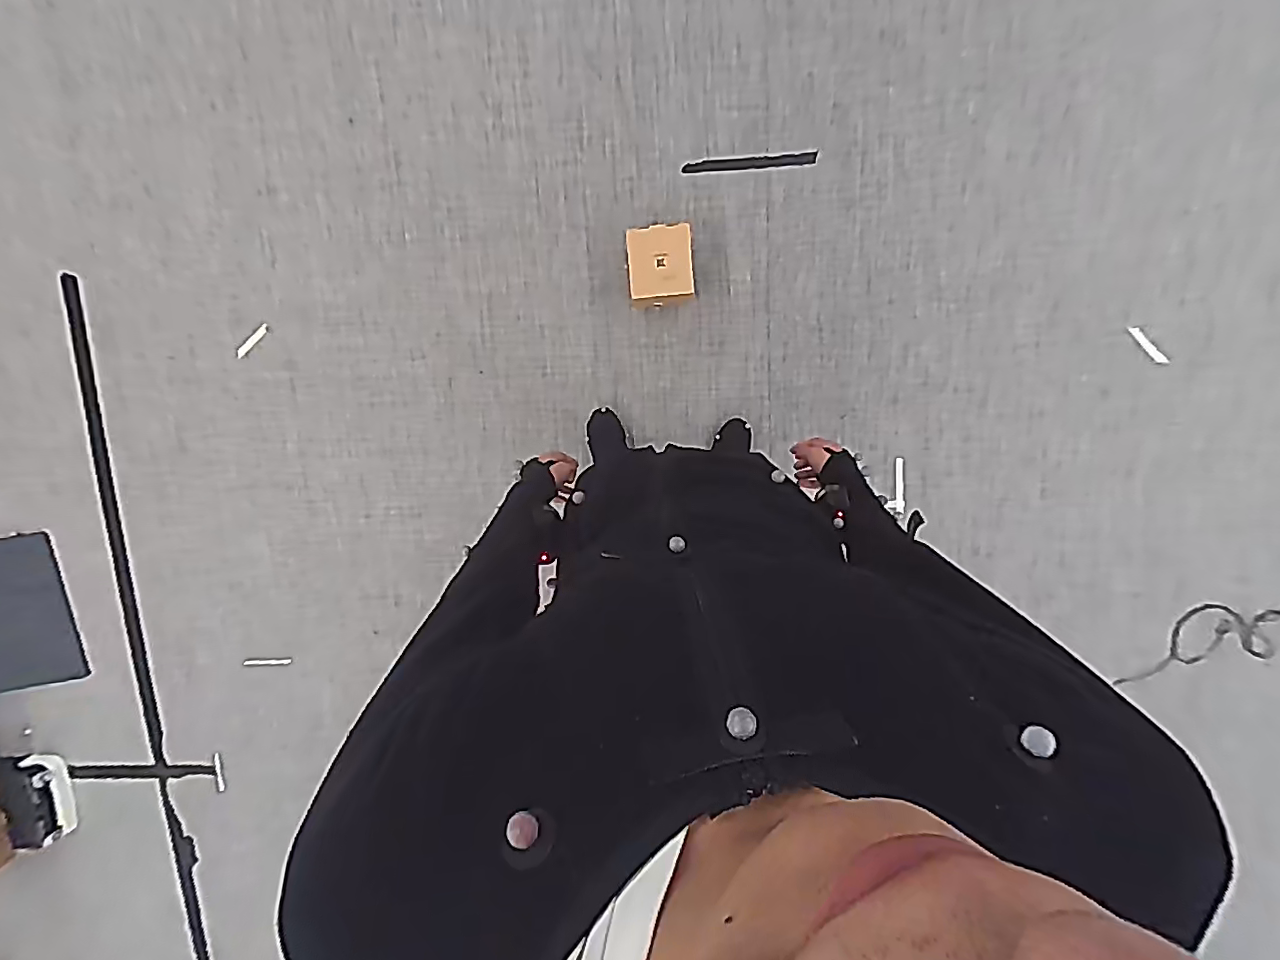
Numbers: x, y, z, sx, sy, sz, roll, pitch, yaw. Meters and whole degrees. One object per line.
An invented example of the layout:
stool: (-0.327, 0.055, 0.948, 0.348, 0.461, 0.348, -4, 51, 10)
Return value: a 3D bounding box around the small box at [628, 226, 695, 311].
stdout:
small box: (0.056, -0.570, 1.472, 0.168, 0.176, 0.179, -5, 99, 3)
